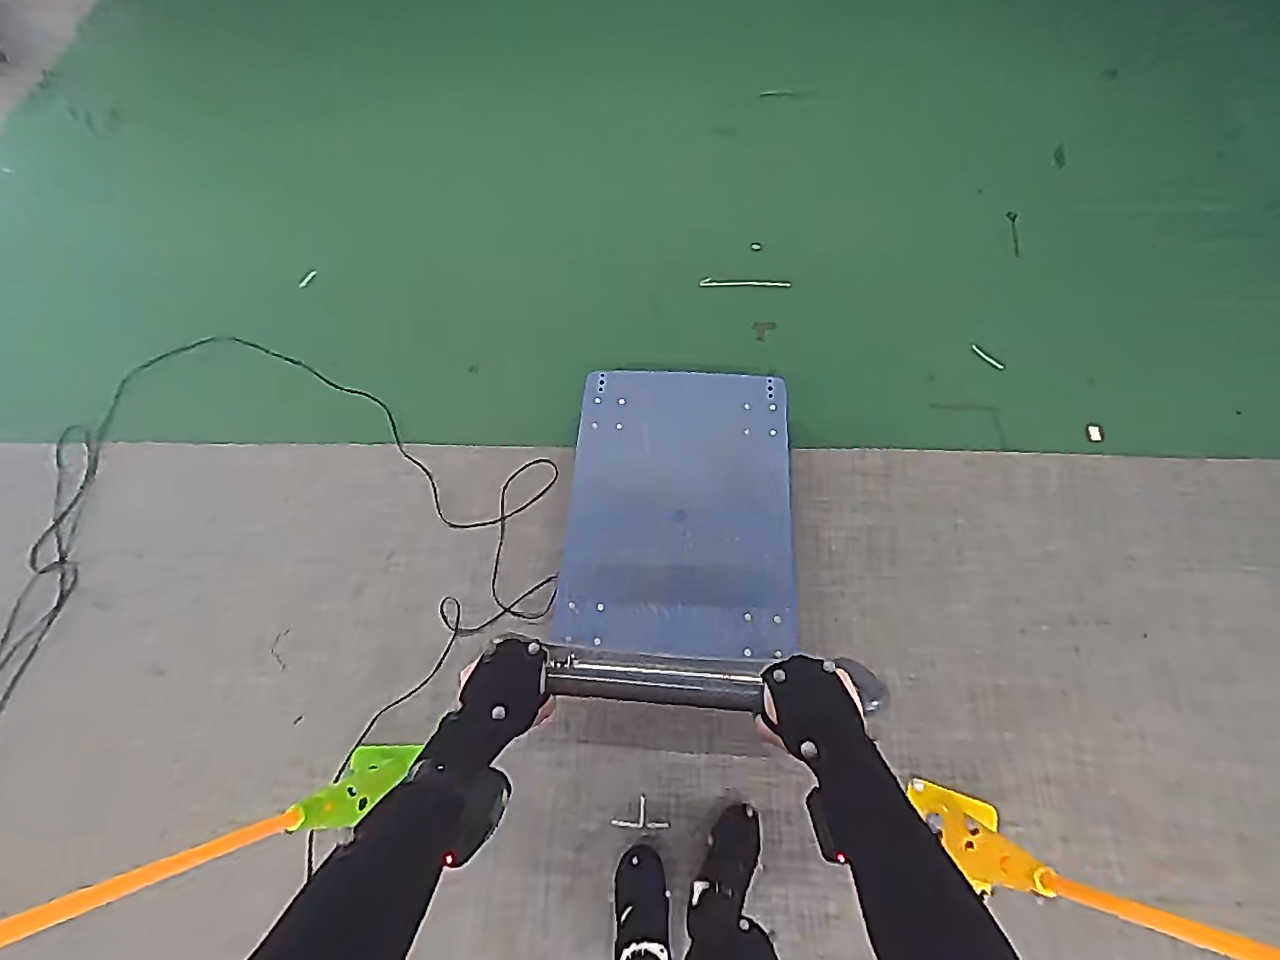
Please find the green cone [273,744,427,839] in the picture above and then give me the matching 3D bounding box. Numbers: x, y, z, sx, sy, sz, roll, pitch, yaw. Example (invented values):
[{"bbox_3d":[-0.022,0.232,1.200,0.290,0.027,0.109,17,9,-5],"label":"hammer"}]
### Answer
[{"bbox_3d":[-0.635,0.684,1.154,0.202,0.368,0.200,-3,66,4],"label":"green cone"}]
